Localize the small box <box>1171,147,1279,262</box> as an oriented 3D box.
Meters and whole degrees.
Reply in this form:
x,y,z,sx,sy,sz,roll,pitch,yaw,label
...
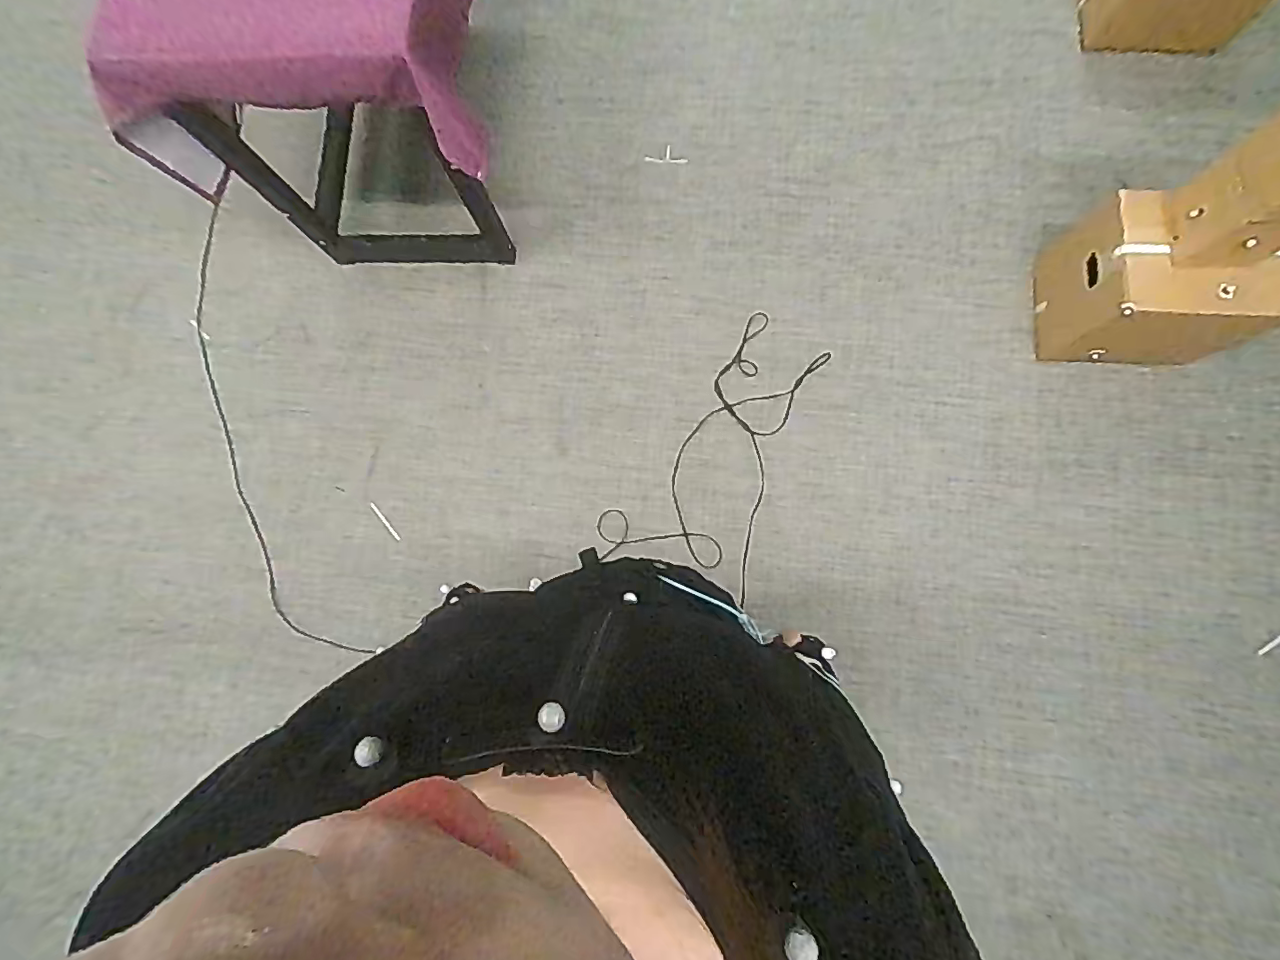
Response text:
x,y,z,sx,sy,sz,roll,pitch,yaw,label
1.308,-0.589,1.168,0.179,0.176,0.168,1,81,4,small box

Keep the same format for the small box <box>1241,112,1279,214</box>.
x,y,z,sx,sy,sz,roll,pitch,yaw,label
1.296,-0.617,1.006,0.168,0.176,0.179,1,80,2,small box

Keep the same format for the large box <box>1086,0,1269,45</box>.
x,y,z,sx,sy,sz,roll,pitch,yaw,label
1.575,-1.503,1.529,0.408,0.320,0.320,4,81,2,large box
